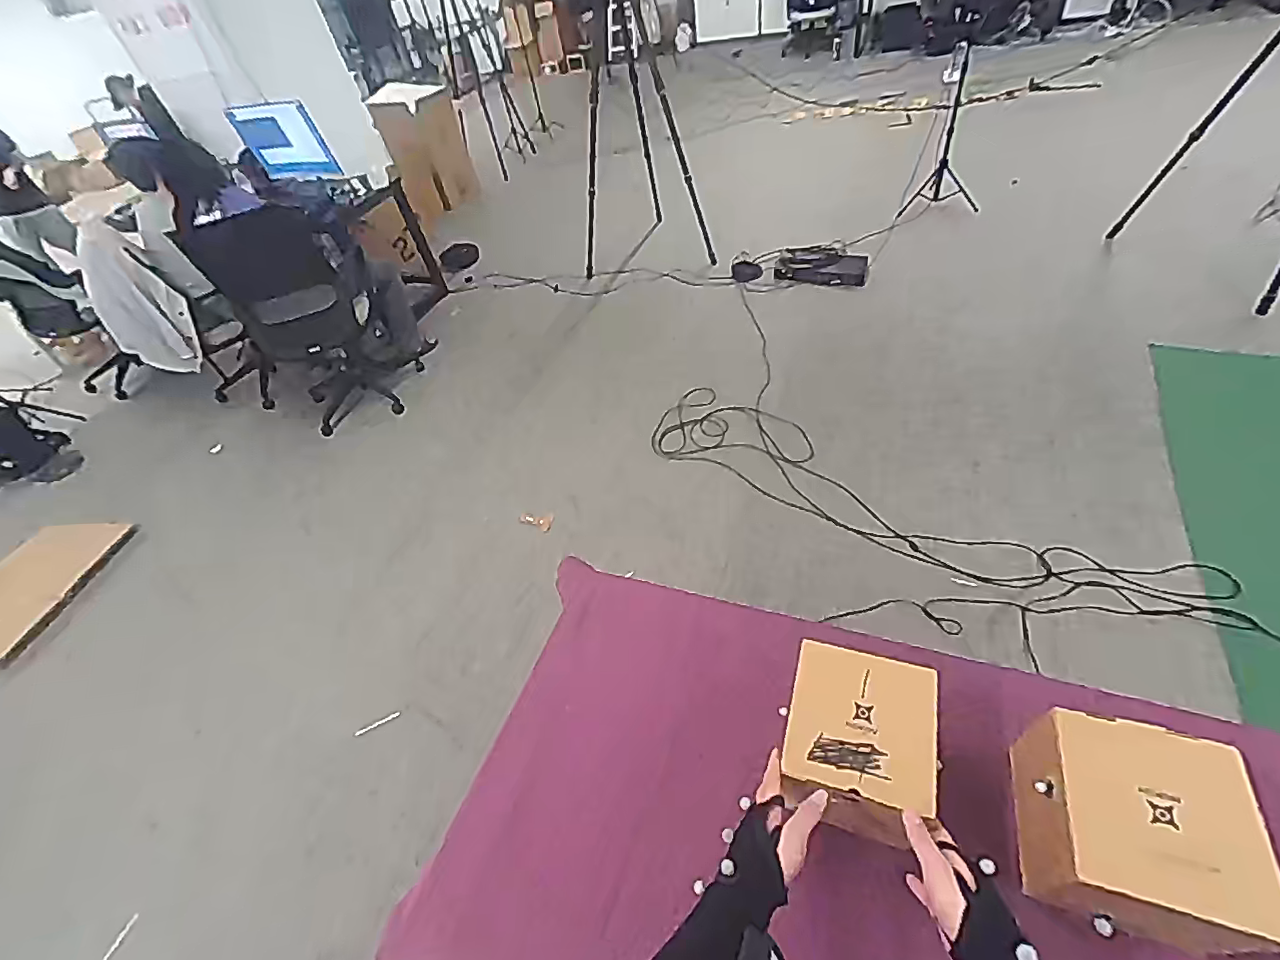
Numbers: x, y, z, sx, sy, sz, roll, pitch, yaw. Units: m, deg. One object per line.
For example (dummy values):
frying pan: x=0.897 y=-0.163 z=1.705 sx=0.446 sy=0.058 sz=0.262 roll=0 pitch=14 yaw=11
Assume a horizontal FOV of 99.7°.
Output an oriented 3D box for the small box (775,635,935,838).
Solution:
small box: x=0.278 y=0.339 z=0.712 sx=0.168 sy=0.176 sz=0.179 roll=10 pitch=50 yaw=20

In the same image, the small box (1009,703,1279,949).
small box: x=0.540 y=0.388 z=0.611 sx=0.168 sy=0.176 sz=0.179 roll=9 pitch=51 yaw=21
